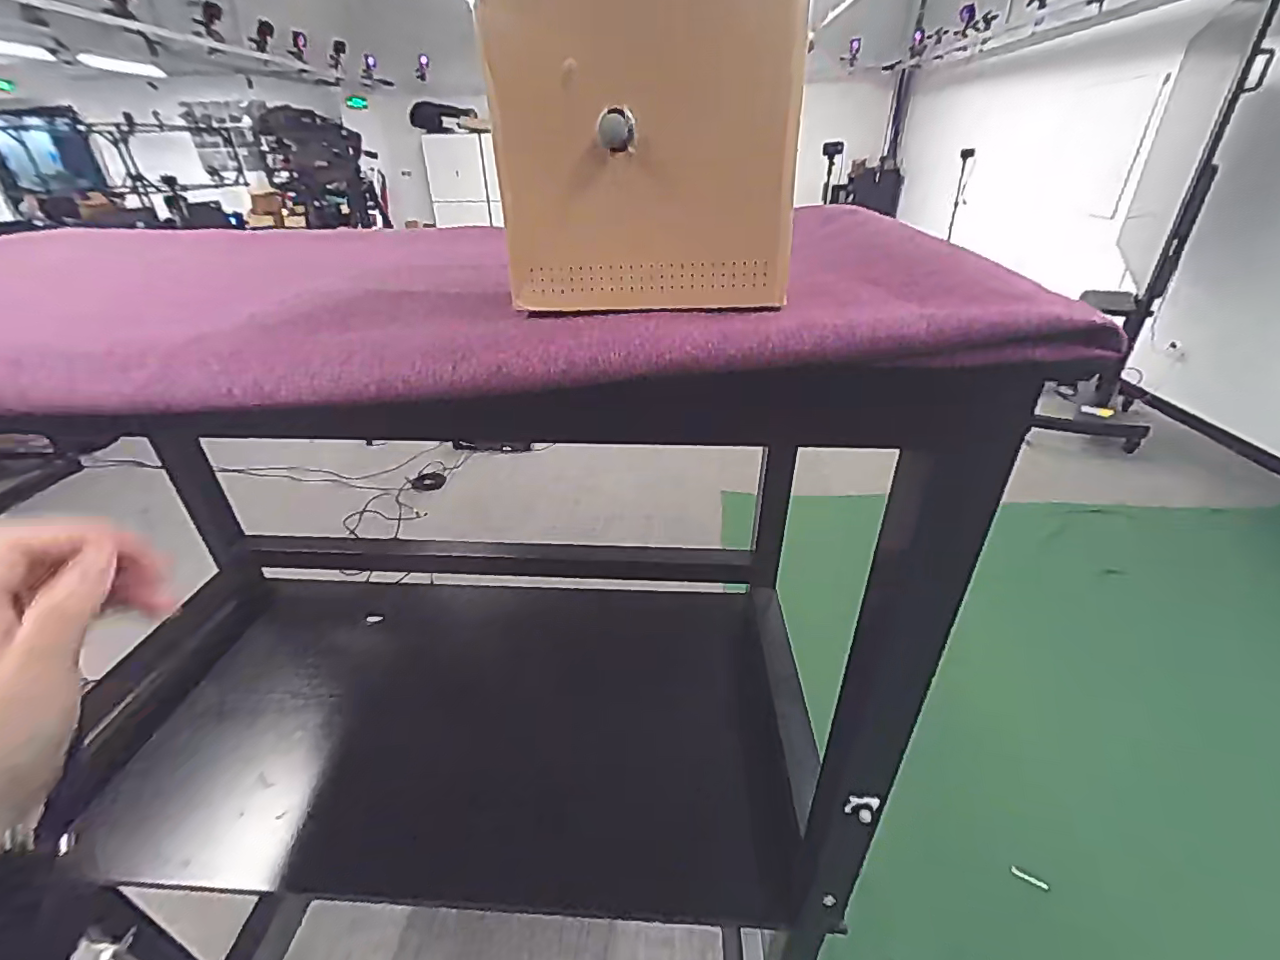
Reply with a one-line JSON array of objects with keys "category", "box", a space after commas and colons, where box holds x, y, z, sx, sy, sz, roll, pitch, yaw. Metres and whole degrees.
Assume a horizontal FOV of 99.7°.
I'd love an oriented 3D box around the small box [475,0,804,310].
[{"category": "small box", "box": [0.010, -0.219, 0.378, 0.179, 0.176, 0.168, 0, 29, 5]}]
